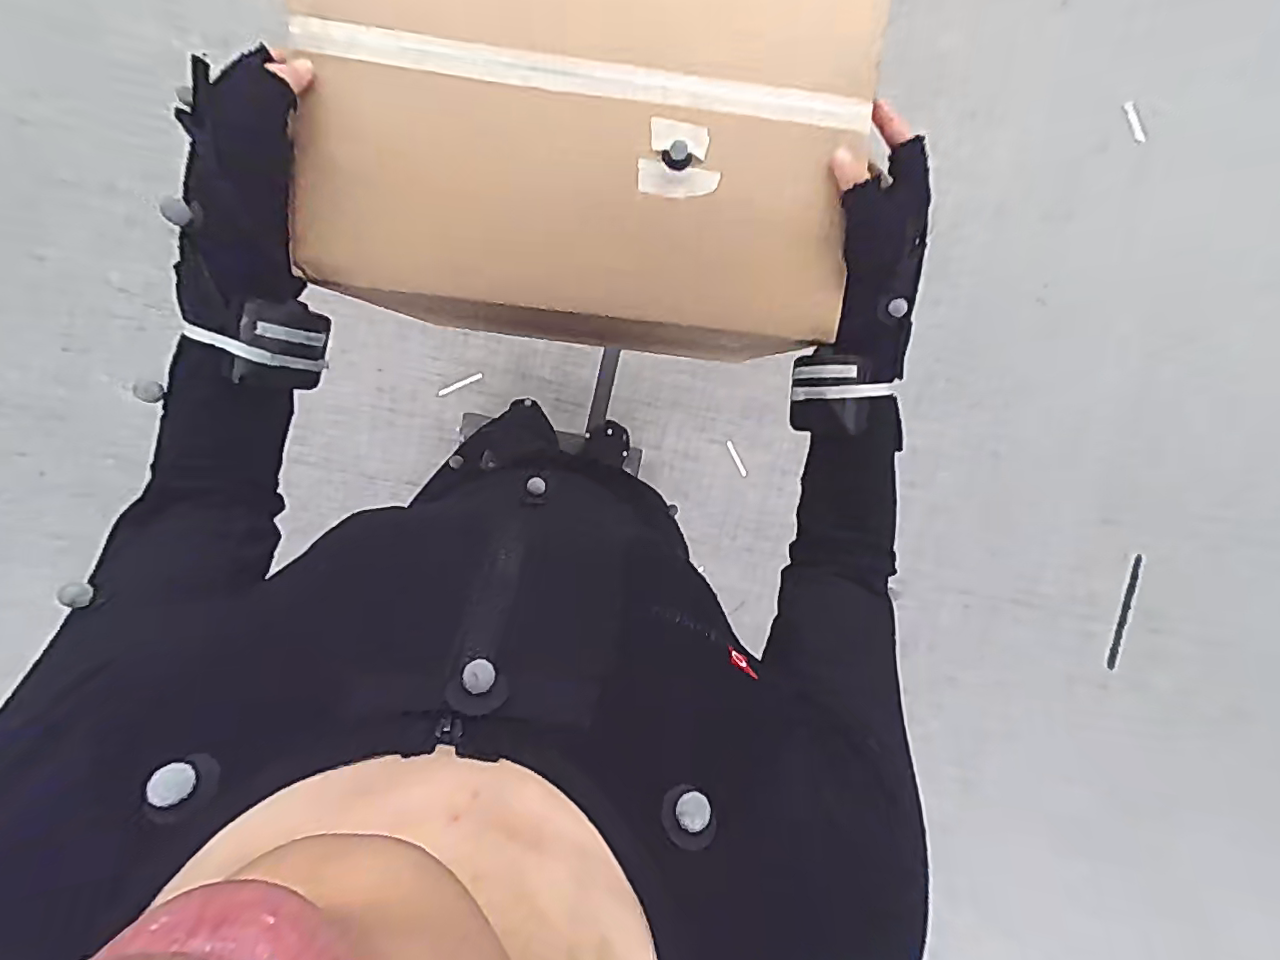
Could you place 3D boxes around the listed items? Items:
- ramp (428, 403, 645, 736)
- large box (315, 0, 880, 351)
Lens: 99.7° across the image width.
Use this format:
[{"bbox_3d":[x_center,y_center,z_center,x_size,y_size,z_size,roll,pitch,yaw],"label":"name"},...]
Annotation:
[{"bbox_3d":[-0.323,0.307,1.584,0.509,0.206,0.991,10,95,-5],"label":"ramp"},{"bbox_3d":[-0.040,-0.314,0.539,0.408,0.320,0.320,6,100,-4],"label":"large box"}]
